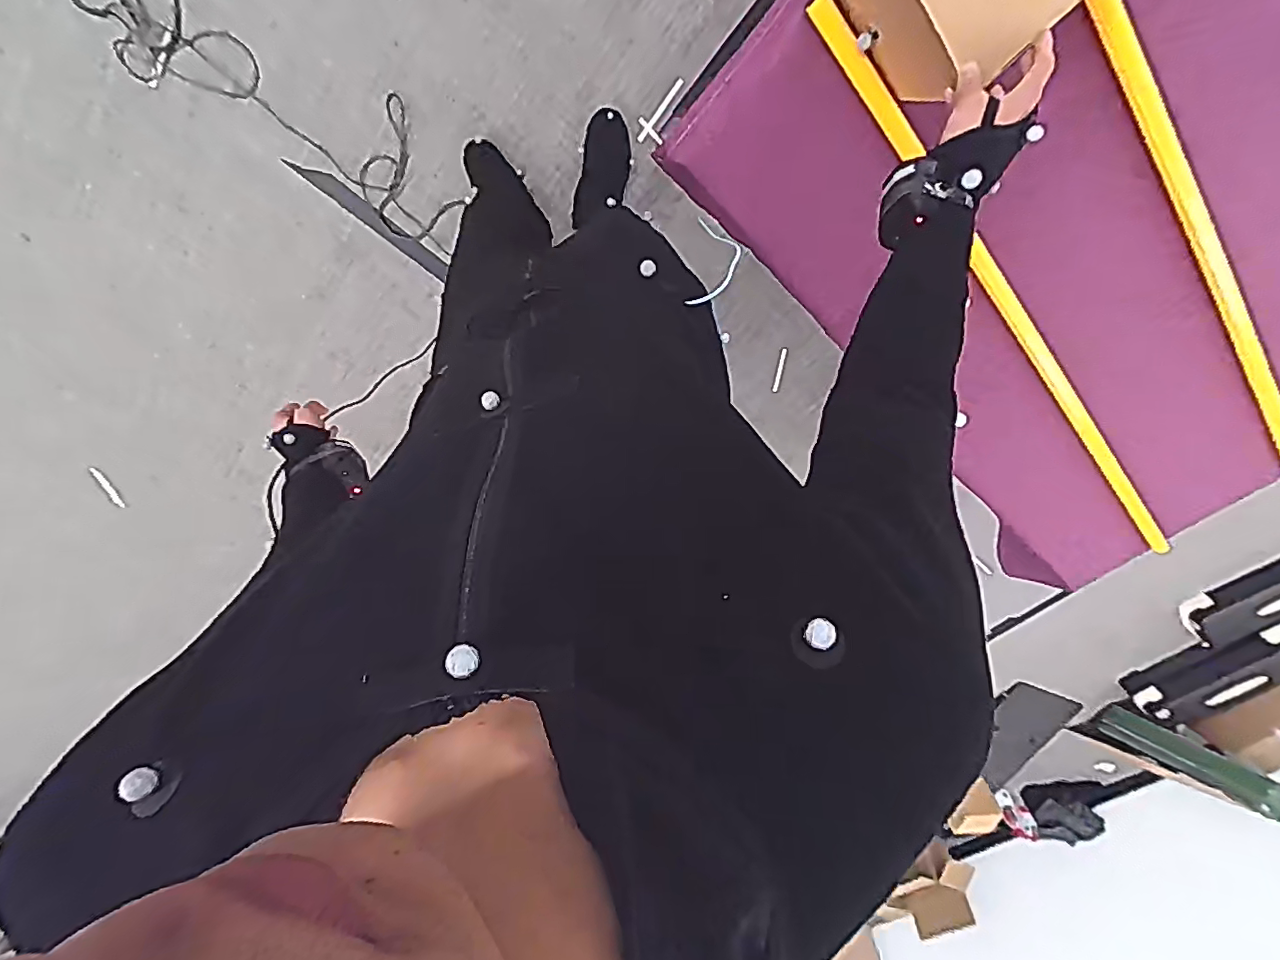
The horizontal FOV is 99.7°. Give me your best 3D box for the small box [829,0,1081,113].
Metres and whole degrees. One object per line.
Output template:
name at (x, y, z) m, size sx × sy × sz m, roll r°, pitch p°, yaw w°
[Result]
small box at (0.308, -0.508, 0.532) m, size 0.179 × 0.176 × 0.168 m, roll 38°, pitch 116°, yaw -27°
